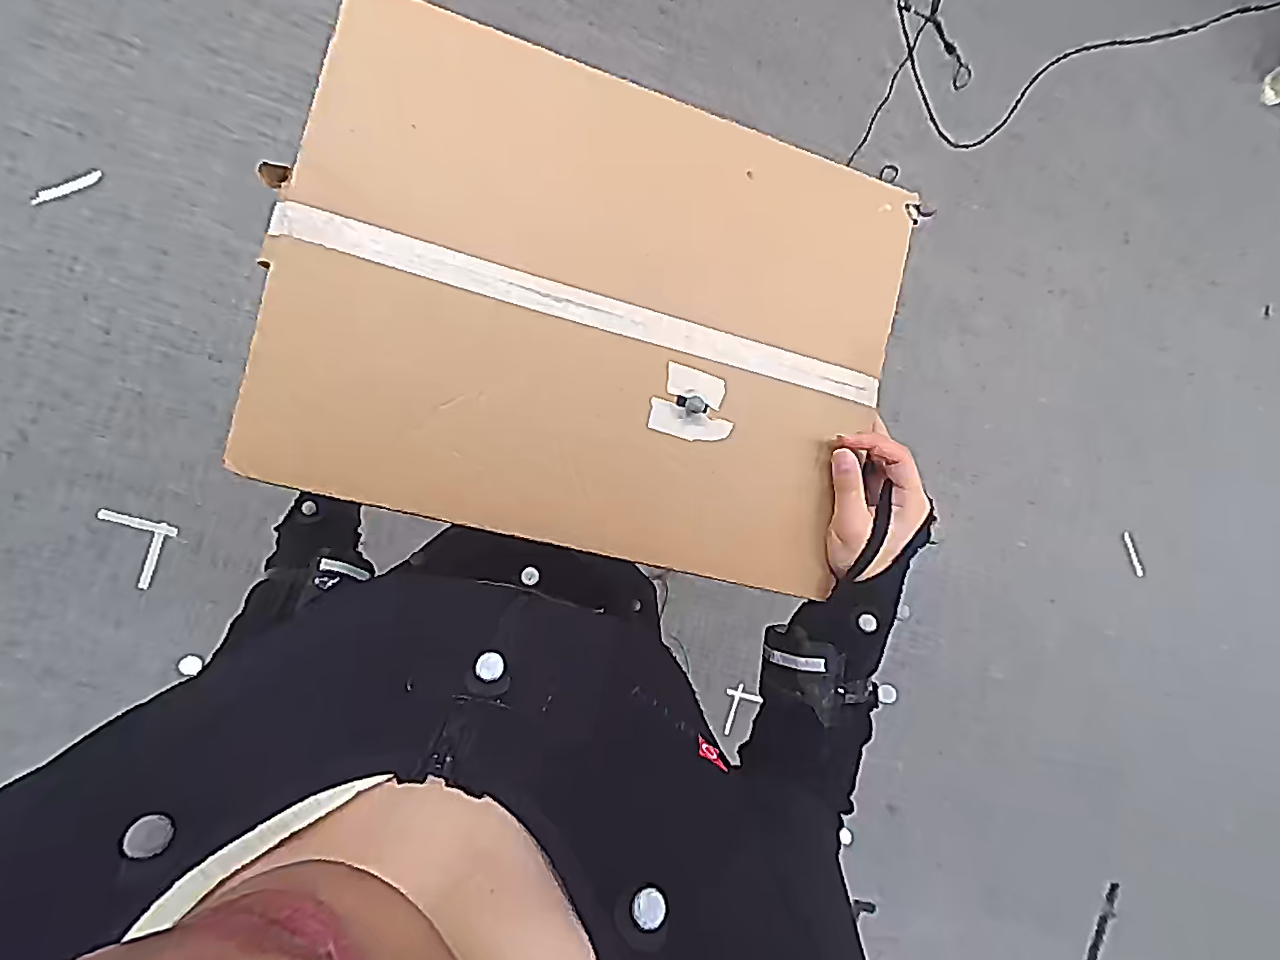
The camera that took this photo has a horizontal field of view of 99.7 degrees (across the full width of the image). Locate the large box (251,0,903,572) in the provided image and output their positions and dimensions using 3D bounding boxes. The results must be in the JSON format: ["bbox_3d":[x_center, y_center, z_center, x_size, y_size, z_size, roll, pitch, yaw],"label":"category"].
[{"bbox_3d":[-0.048,-0.121,0.515,0.408,0.320,0.320,13,89,-12],"label":"large box"}]
